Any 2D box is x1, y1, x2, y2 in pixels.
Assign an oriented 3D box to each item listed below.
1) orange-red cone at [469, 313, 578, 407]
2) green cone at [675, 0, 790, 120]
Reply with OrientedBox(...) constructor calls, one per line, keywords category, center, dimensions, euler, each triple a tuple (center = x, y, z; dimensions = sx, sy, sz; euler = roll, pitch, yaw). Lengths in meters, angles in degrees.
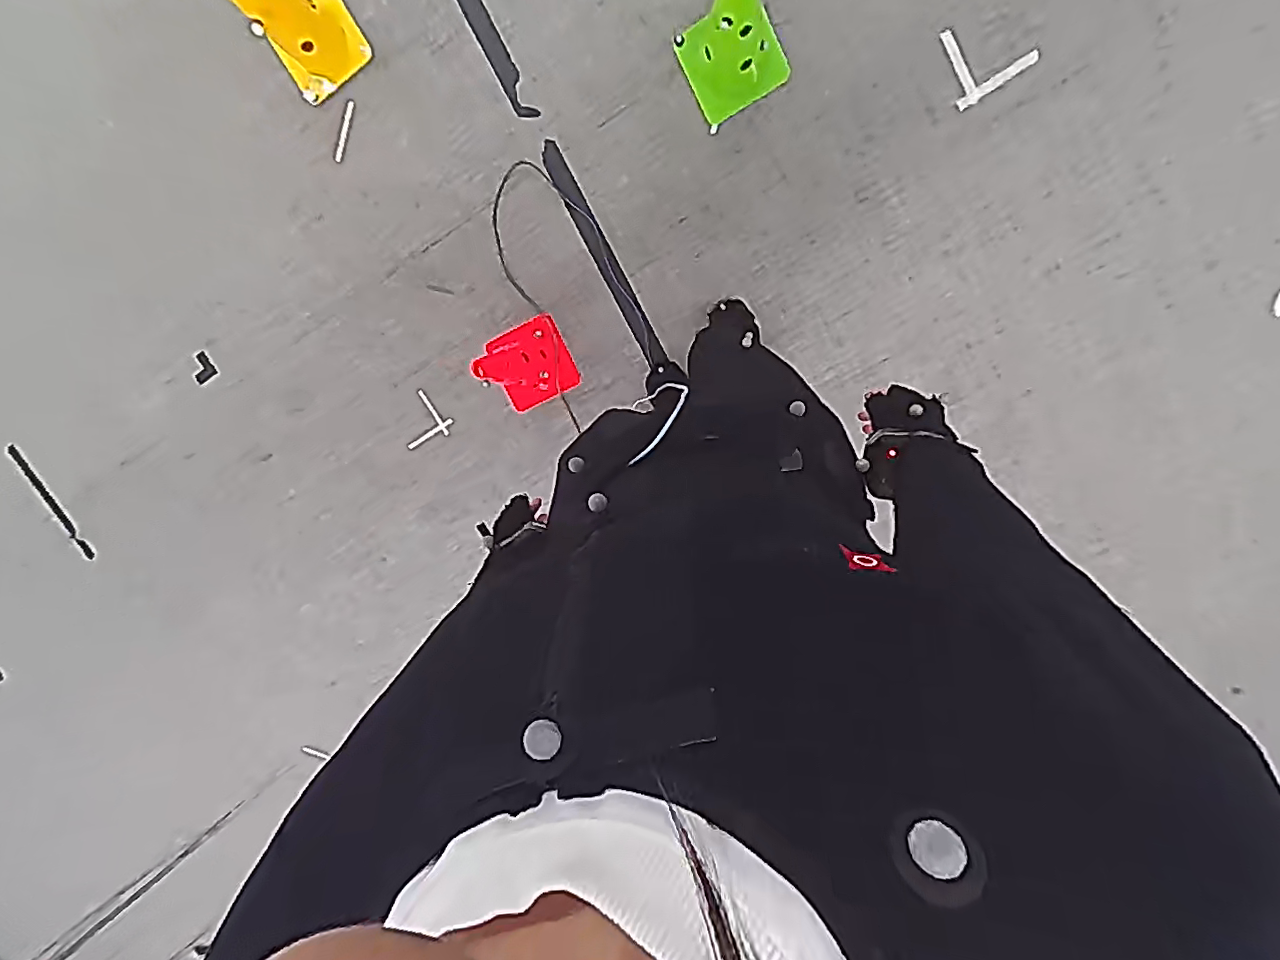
OrientedBox(category="orange-red cone", center=(-0.297, -0.266, 1.225), dimensions=(0.199, 0.360, 0.198), euler=(-22, 99, 12))
OrientedBox(category="green cone", center=(0.185, -0.886, 1.012), dimensions=(0.202, 0.368, 0.200), euler=(-27, 100, 11))
